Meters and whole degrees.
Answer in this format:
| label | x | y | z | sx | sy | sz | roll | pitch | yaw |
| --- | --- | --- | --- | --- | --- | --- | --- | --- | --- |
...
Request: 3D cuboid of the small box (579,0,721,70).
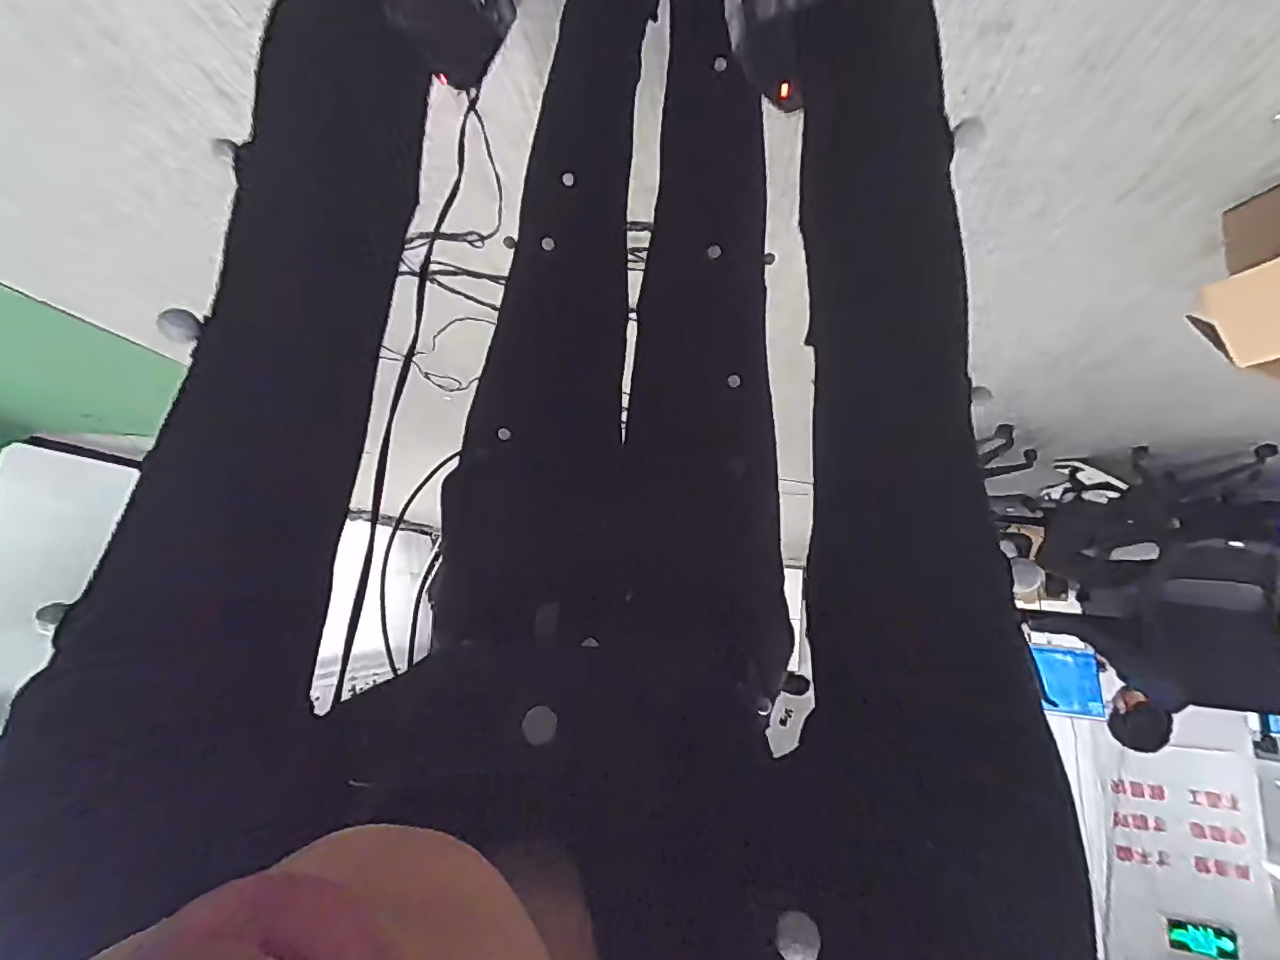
| label | x | y | z | sx | sy | sz | roll | pitch | yaw |
| --- | --- | --- | --- | --- | --- | --- | --- | --- | --- |
| small box | 0.008 | -0.628 | 0.629 | 0.168 | 0.176 | 0.179 | -4 | 170 | -2 |
